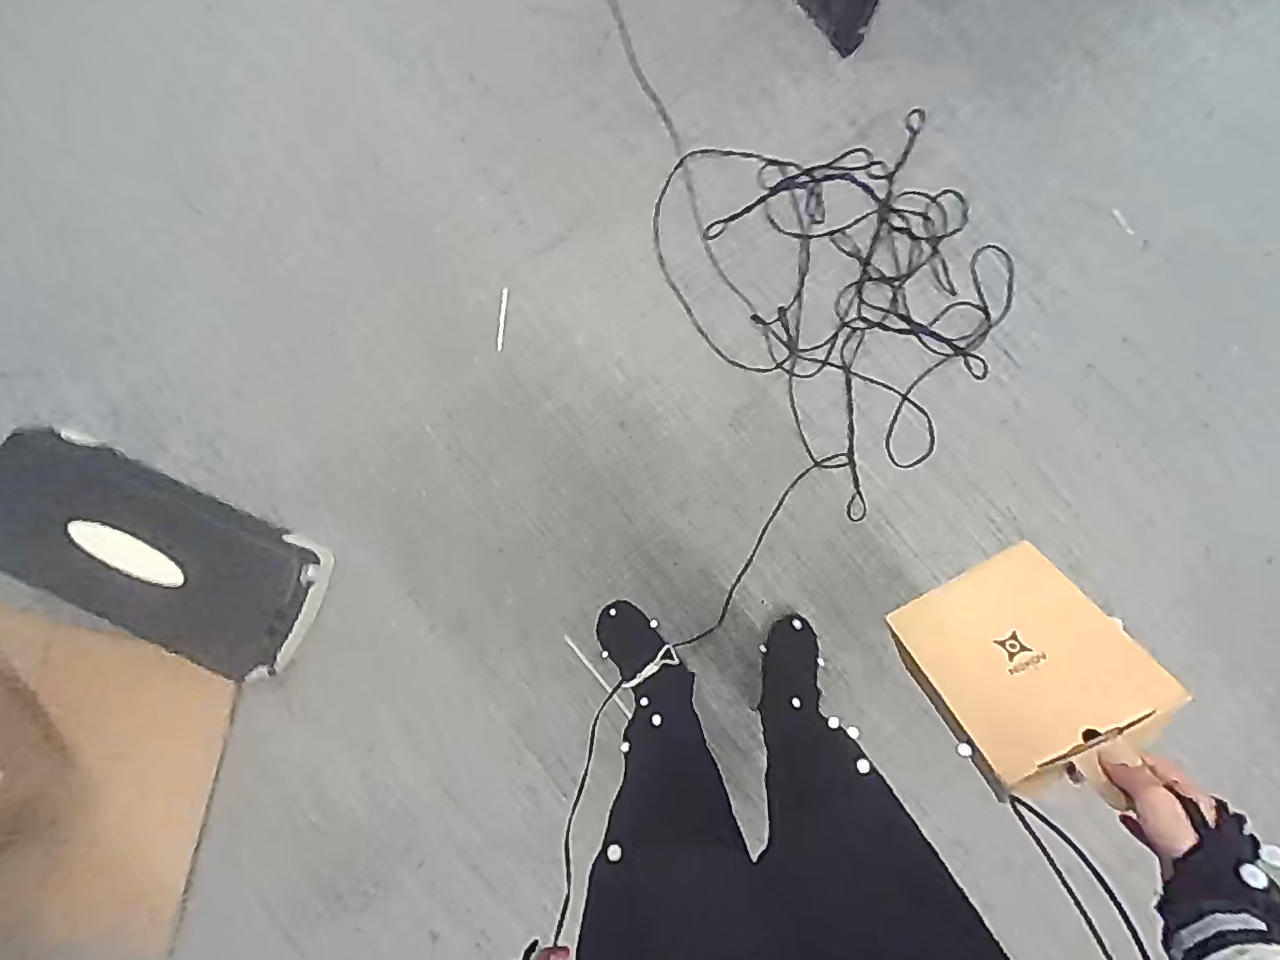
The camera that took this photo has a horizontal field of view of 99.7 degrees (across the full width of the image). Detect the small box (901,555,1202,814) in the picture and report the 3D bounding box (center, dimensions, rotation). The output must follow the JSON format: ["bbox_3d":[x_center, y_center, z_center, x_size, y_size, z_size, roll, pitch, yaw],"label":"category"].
[{"bbox_3d":[0.407,0.218,0.569,0.168,0.176,0.179,-31,44,9],"label":"small box"}]
